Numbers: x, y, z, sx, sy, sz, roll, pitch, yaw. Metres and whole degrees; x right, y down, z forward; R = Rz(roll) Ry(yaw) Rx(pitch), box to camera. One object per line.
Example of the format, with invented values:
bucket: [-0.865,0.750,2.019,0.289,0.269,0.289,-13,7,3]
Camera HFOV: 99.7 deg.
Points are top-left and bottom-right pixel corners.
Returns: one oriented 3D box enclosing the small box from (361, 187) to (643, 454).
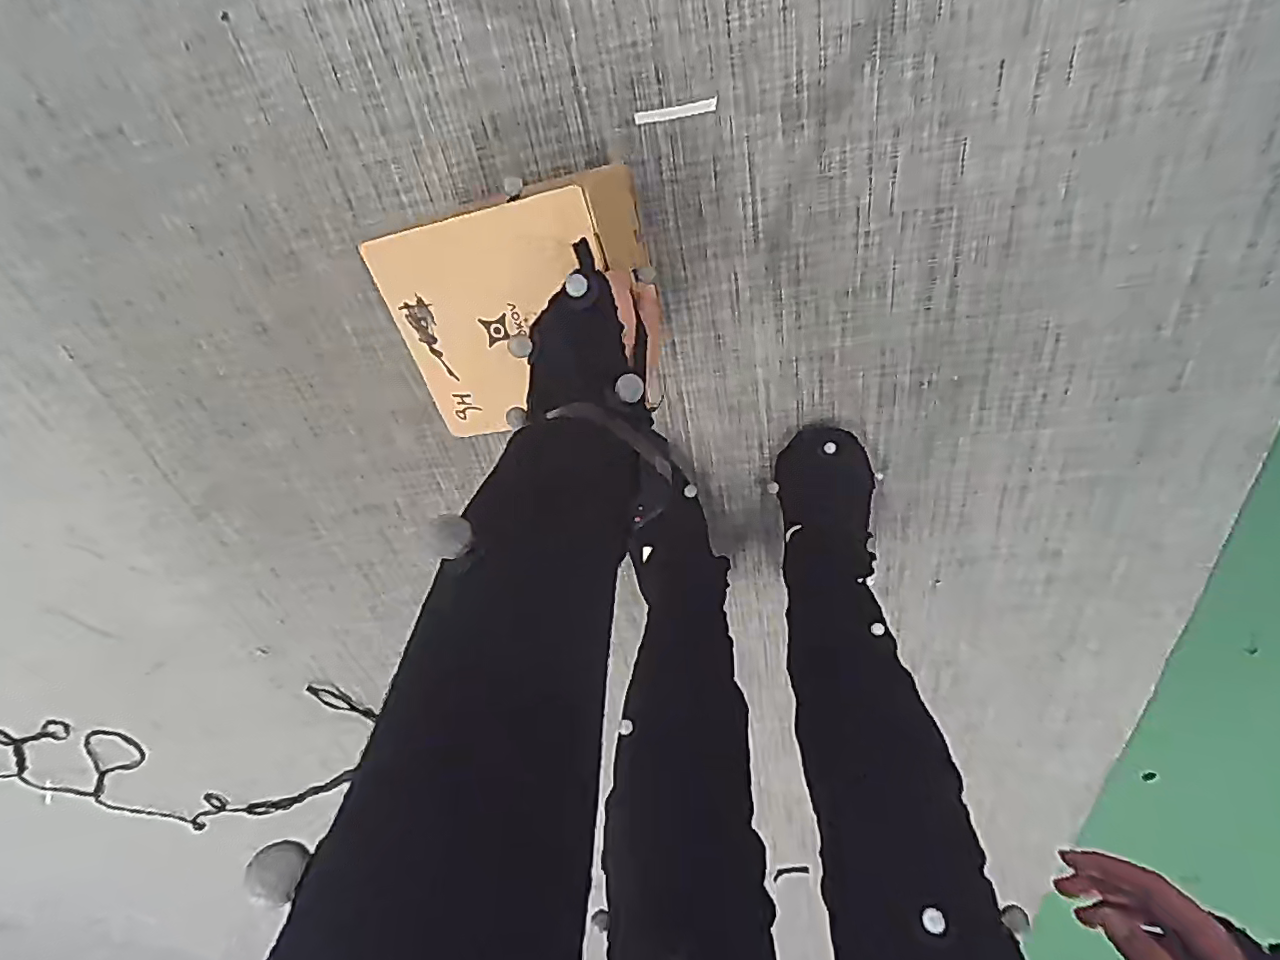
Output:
small box: [-0.097,-0.147,0.483,0.179,0.176,0.168,-9,123,11]
